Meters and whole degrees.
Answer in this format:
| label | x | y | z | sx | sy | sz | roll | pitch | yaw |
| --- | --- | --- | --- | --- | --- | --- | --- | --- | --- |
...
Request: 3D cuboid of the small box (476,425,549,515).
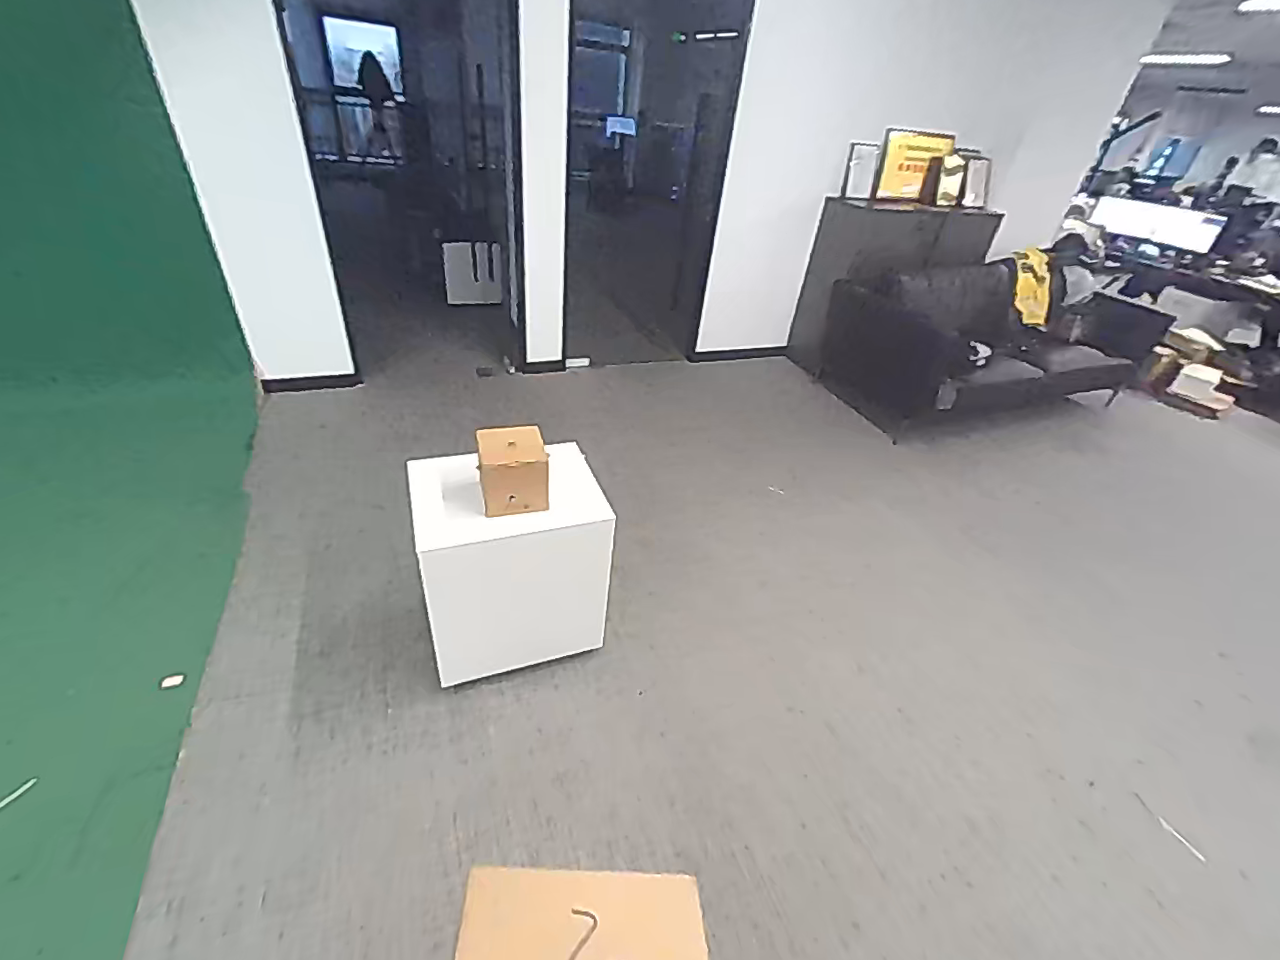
| label | x | y | z | sx | sy | sz | roll | pitch | yaw |
| --- | --- | --- | --- | --- | --- | --- | --- | --- | --- |
| small box | -0.344 | -0.028 | 1.449 | 0.168 | 0.176 | 0.179 | -7 | 38 | -19 |
